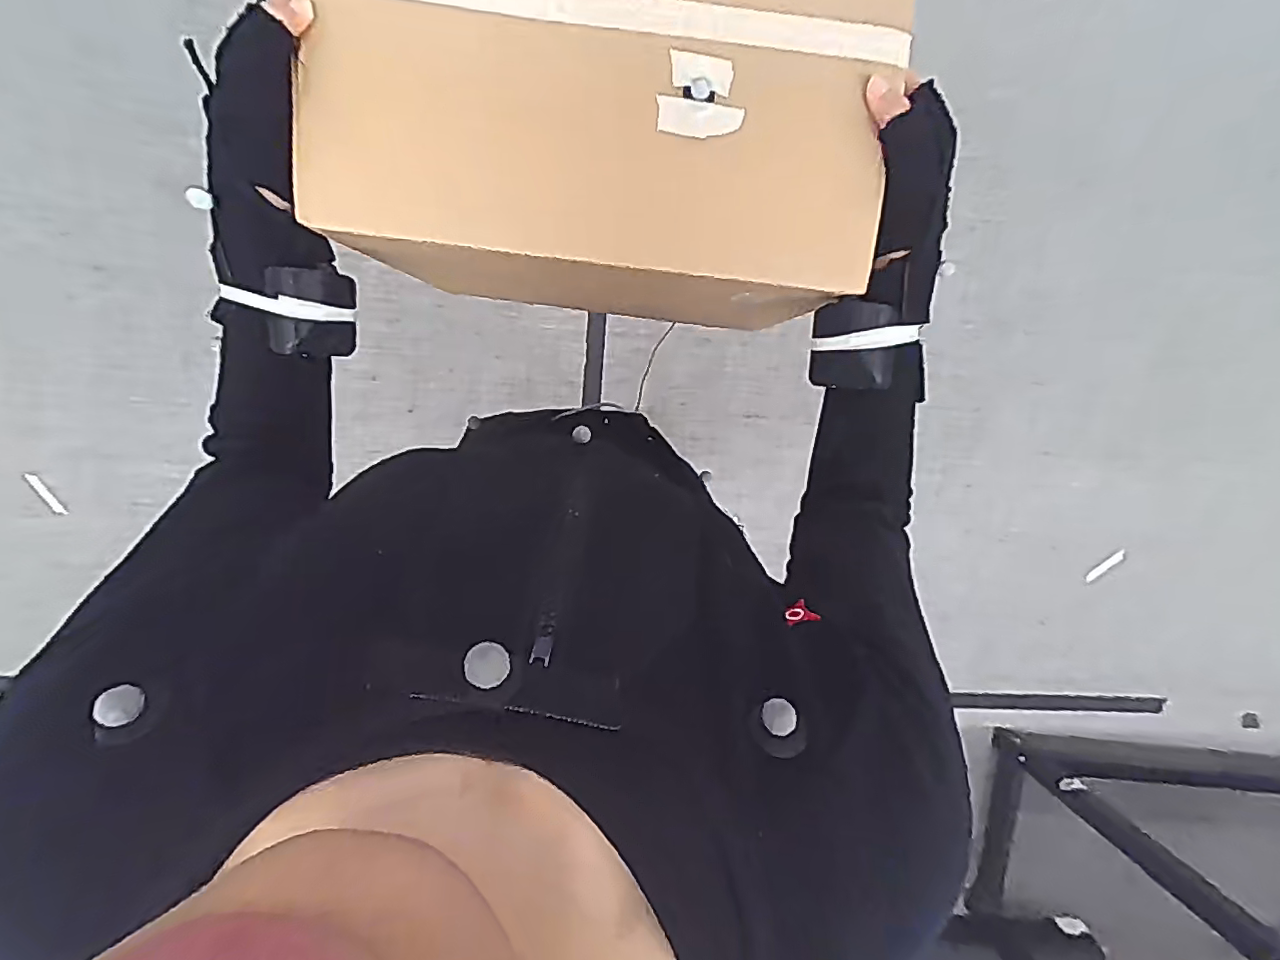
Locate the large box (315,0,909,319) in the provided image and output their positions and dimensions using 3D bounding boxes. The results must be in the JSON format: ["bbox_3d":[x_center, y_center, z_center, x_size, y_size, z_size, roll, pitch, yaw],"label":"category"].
[{"bbox_3d":[-0.023,-0.344,0.512,0.408,0.320,0.320,6,102,-3],"label":"large box"}]
